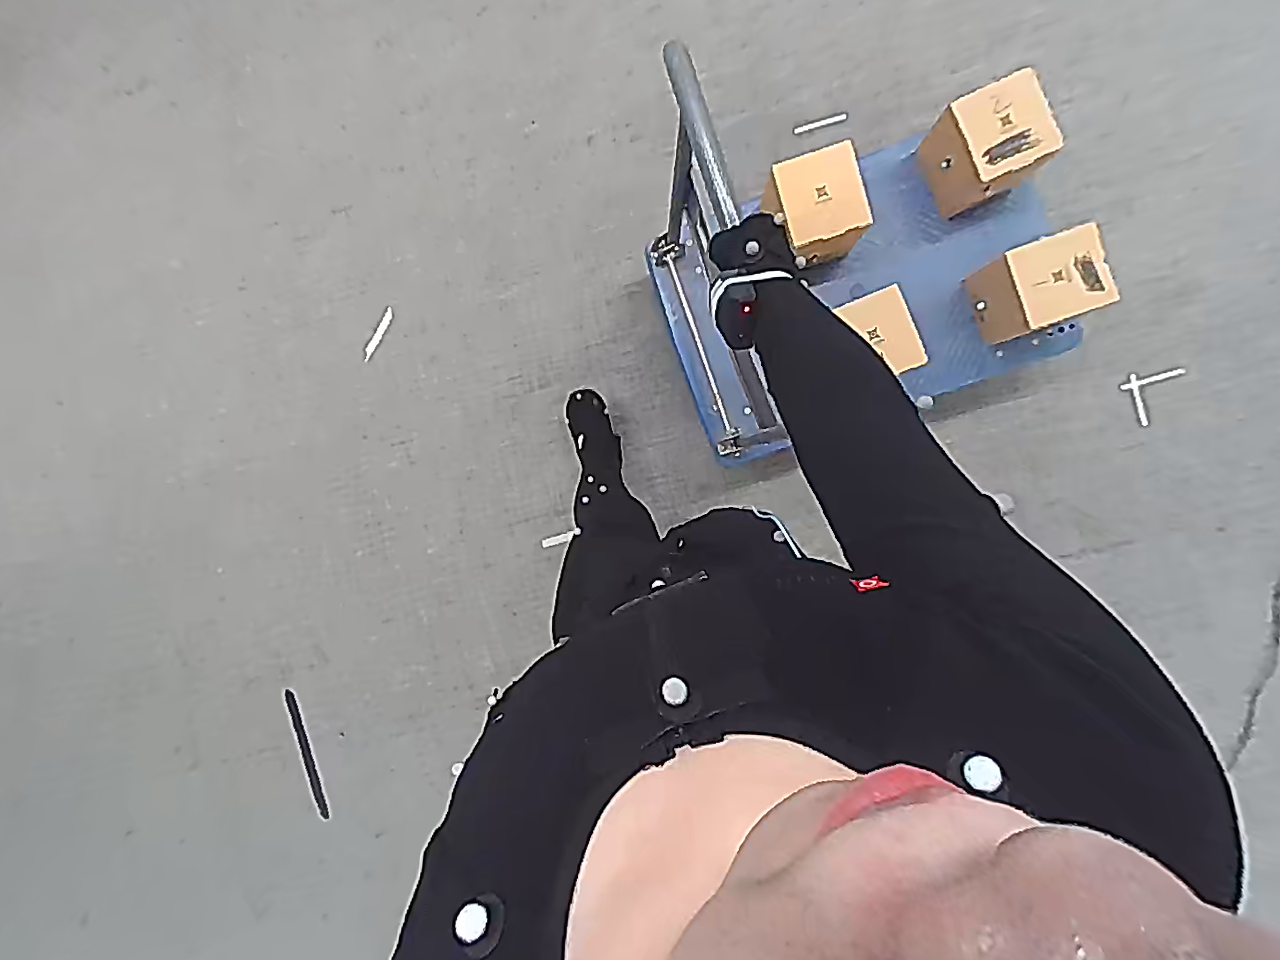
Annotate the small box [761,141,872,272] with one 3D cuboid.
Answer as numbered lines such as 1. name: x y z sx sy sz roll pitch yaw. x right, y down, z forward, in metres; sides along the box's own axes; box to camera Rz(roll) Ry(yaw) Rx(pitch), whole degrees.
1. small box: 0.372 -0.583 1.174 0.168 0.176 0.179 -16 92 4

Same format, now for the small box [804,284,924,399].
1. small box: 0.475 -0.291 1.176 0.168 0.176 0.179 -21 90 5

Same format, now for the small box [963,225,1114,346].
1. small box: 0.832 -0.402 1.146 0.179 0.176 0.168 -18 90 6
